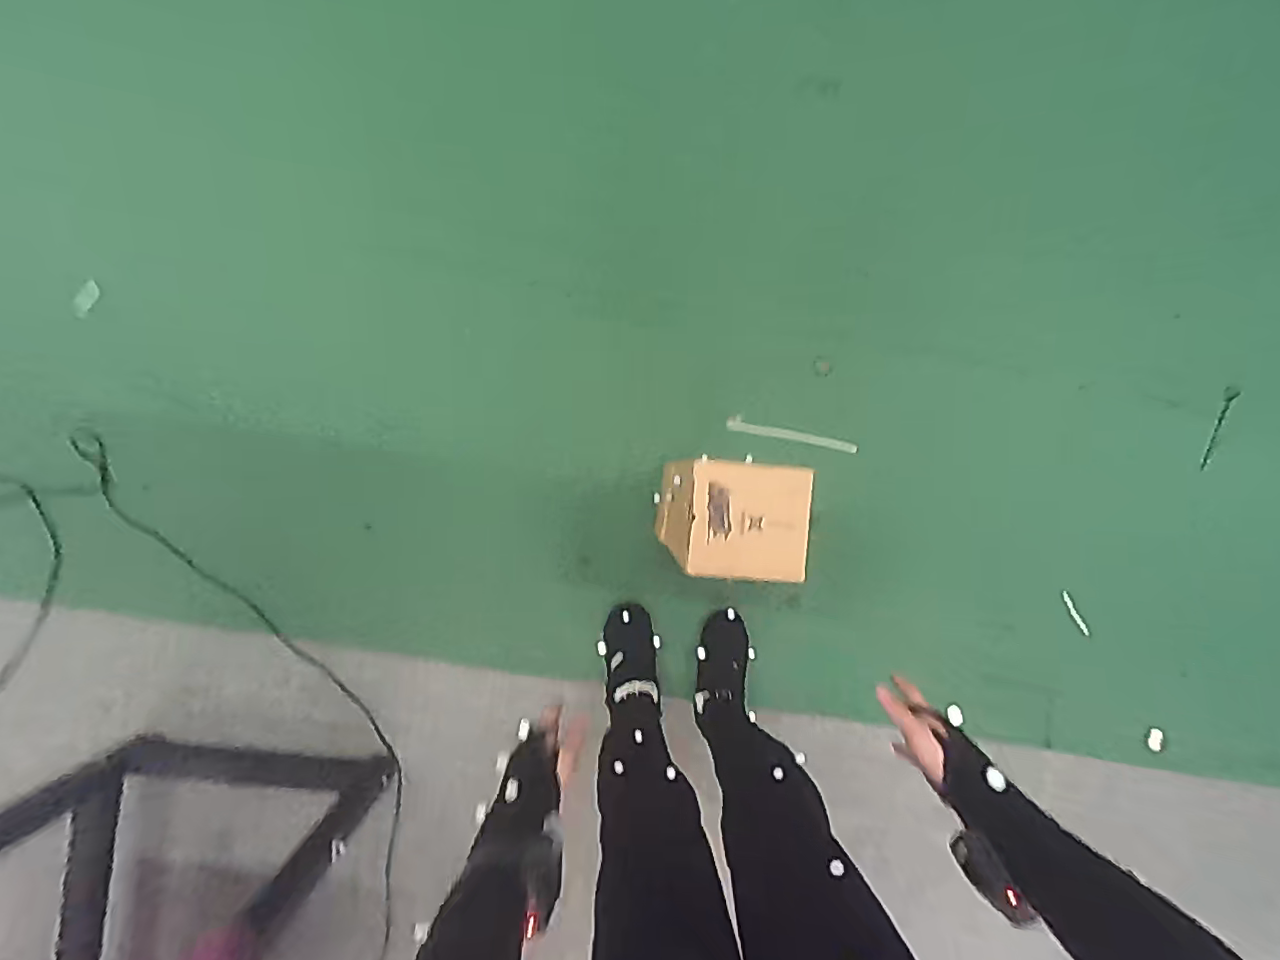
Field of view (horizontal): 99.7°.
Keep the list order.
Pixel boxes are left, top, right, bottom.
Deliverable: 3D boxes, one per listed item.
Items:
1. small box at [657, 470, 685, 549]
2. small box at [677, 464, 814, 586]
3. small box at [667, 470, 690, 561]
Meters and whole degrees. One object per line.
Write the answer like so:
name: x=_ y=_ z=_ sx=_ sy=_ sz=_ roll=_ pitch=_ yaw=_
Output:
small box: x=0.140 y=0.073 z=1.187 sx=0.179 sy=0.176 sz=0.168 roll=9 pitch=89 yaw=-2
small box: x=0.157 y=0.067 z=0.861 sx=0.179 sy=0.176 sz=0.168 roll=5 pitch=90 yaw=-3
small box: x=0.153 y=0.070 z=1.025 sx=0.179 sy=0.176 sz=0.168 roll=6 pitch=90 yaw=-2
